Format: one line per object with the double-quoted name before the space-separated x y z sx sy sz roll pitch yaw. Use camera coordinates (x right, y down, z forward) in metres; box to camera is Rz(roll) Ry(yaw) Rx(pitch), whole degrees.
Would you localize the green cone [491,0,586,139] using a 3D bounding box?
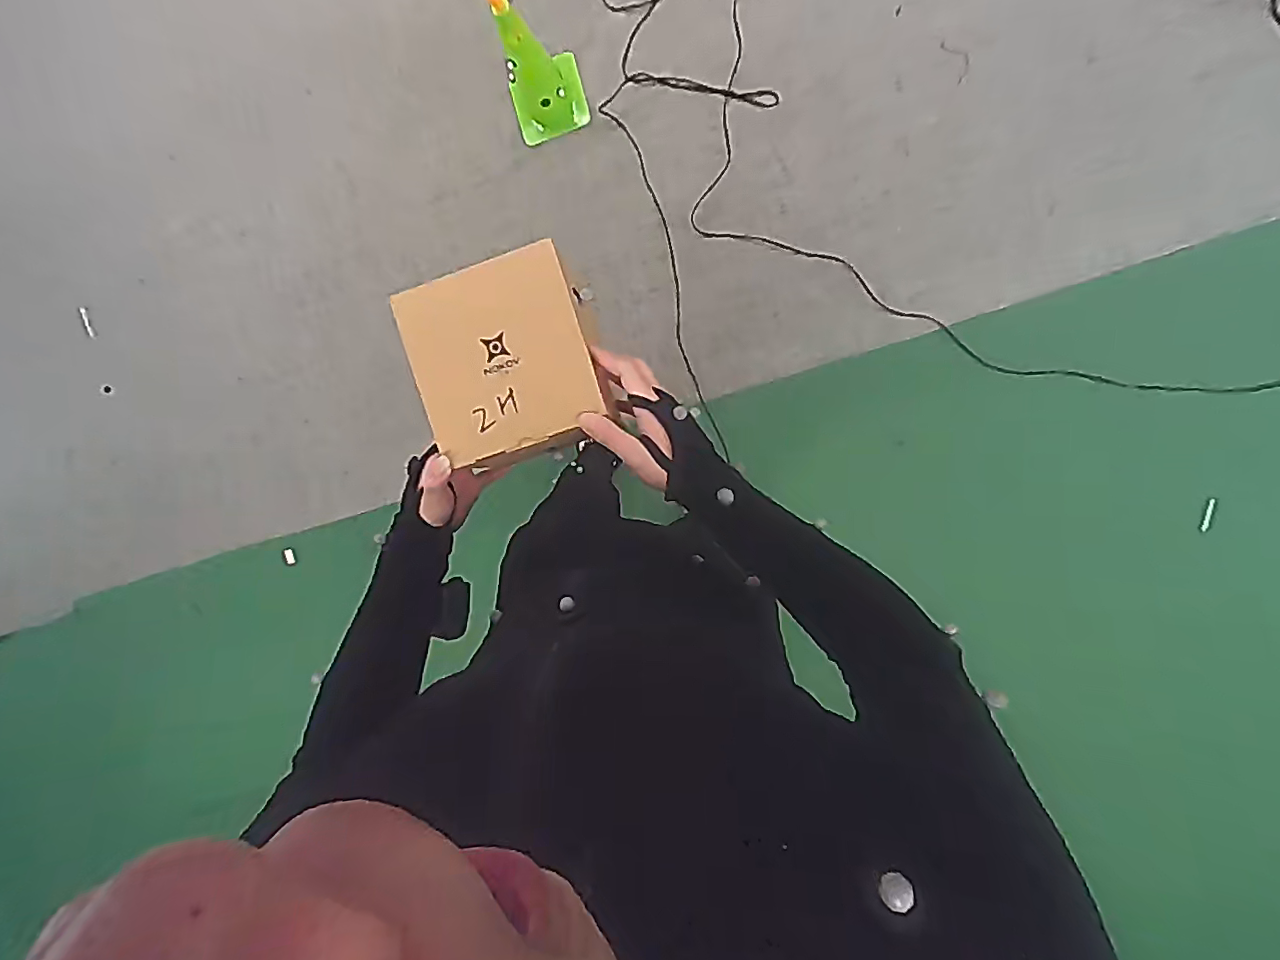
"green cone" -0.283 -1.042 1.317 0.202 0.368 0.200 -16 95 8
